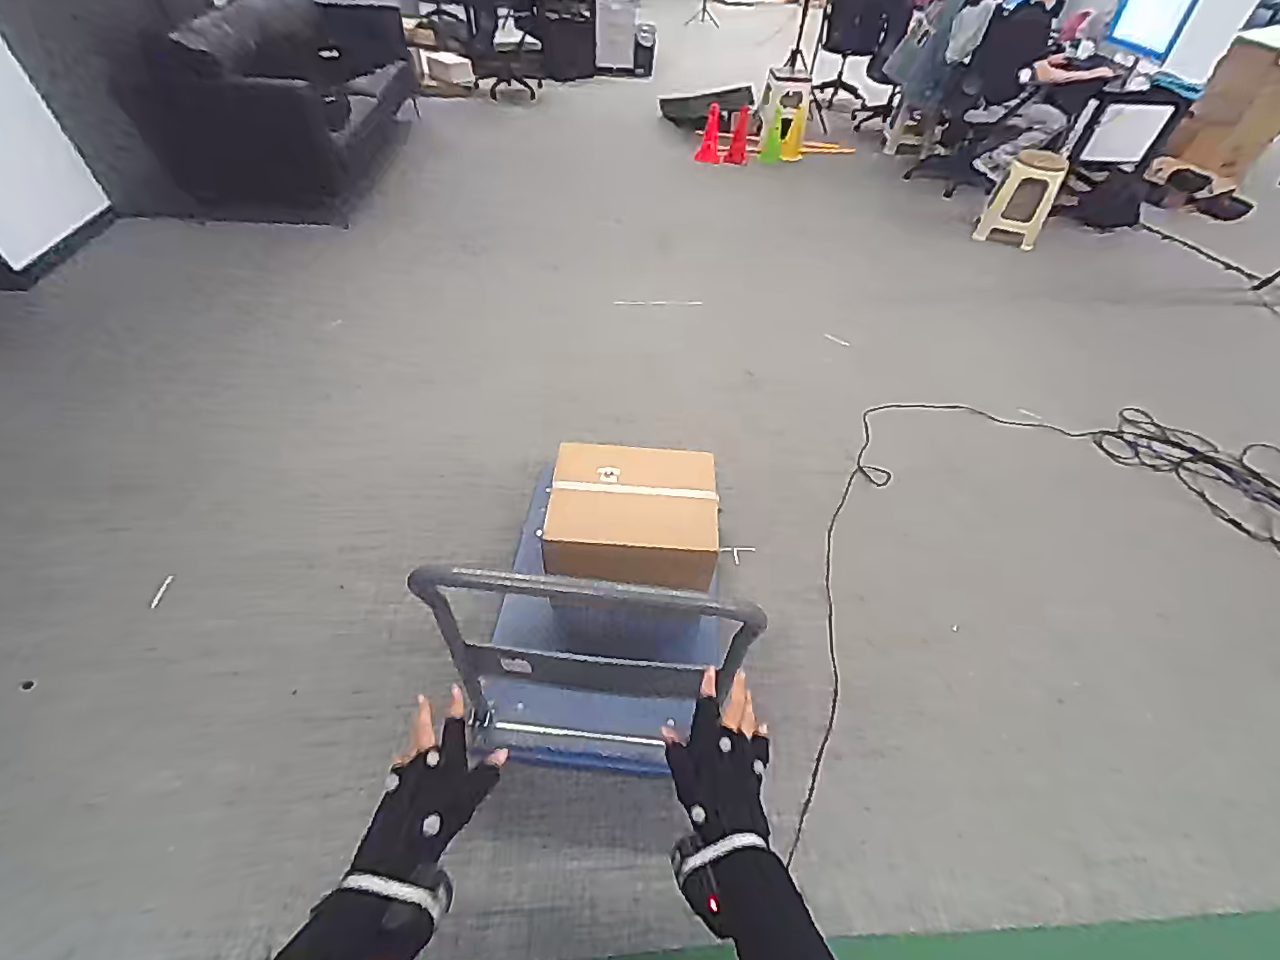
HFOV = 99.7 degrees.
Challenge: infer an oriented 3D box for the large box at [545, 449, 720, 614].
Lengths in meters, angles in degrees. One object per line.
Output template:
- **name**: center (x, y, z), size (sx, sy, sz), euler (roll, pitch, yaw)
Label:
- **large box**: center (-0.015, 0.139, 1.432), size (0.408, 0.320, 0.320), euler (4, 47, 0)
